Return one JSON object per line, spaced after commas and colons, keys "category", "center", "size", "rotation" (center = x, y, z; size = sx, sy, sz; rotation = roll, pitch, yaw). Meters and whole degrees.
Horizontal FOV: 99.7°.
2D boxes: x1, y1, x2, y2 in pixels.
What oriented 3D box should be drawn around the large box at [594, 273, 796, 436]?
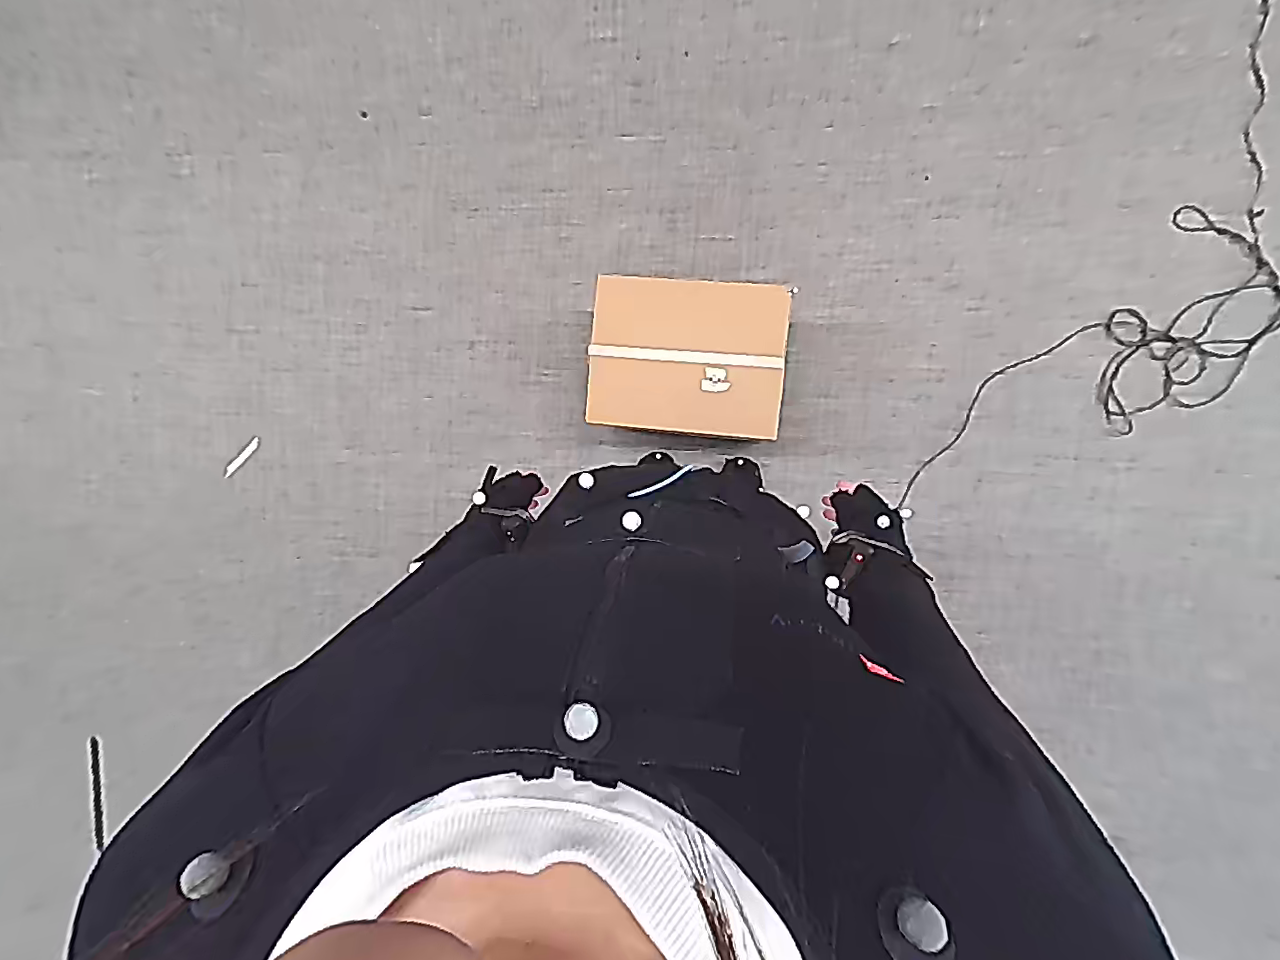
{"category": "large box", "center": [0.124, -0.274, 1.272], "size": [0.408, 0.320, 0.320], "rotation": [6, 95, 7]}
